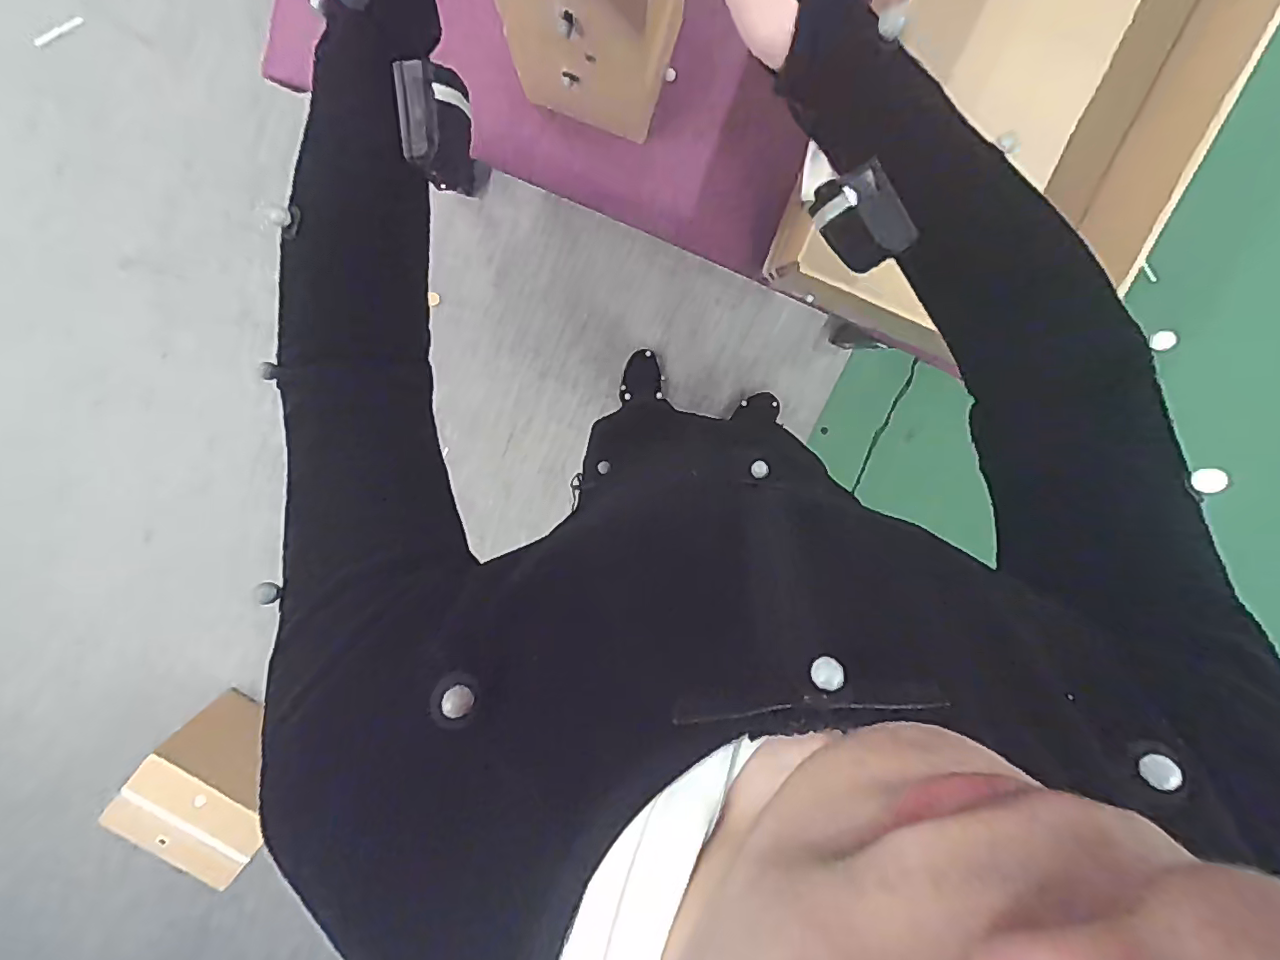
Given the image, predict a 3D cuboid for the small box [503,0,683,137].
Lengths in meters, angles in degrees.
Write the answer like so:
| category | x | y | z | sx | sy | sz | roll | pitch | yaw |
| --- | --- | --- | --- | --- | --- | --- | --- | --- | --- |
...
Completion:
| category | x | y | z | sx | sy | sz | roll | pitch | yaw |
| --- | --- | --- | --- | --- | --- | --- | --- | --- | --- |
| small box | -0.050 | -0.569 | 0.677 | 0.179 | 0.176 | 0.168 | 18 | 101 | -6 |
